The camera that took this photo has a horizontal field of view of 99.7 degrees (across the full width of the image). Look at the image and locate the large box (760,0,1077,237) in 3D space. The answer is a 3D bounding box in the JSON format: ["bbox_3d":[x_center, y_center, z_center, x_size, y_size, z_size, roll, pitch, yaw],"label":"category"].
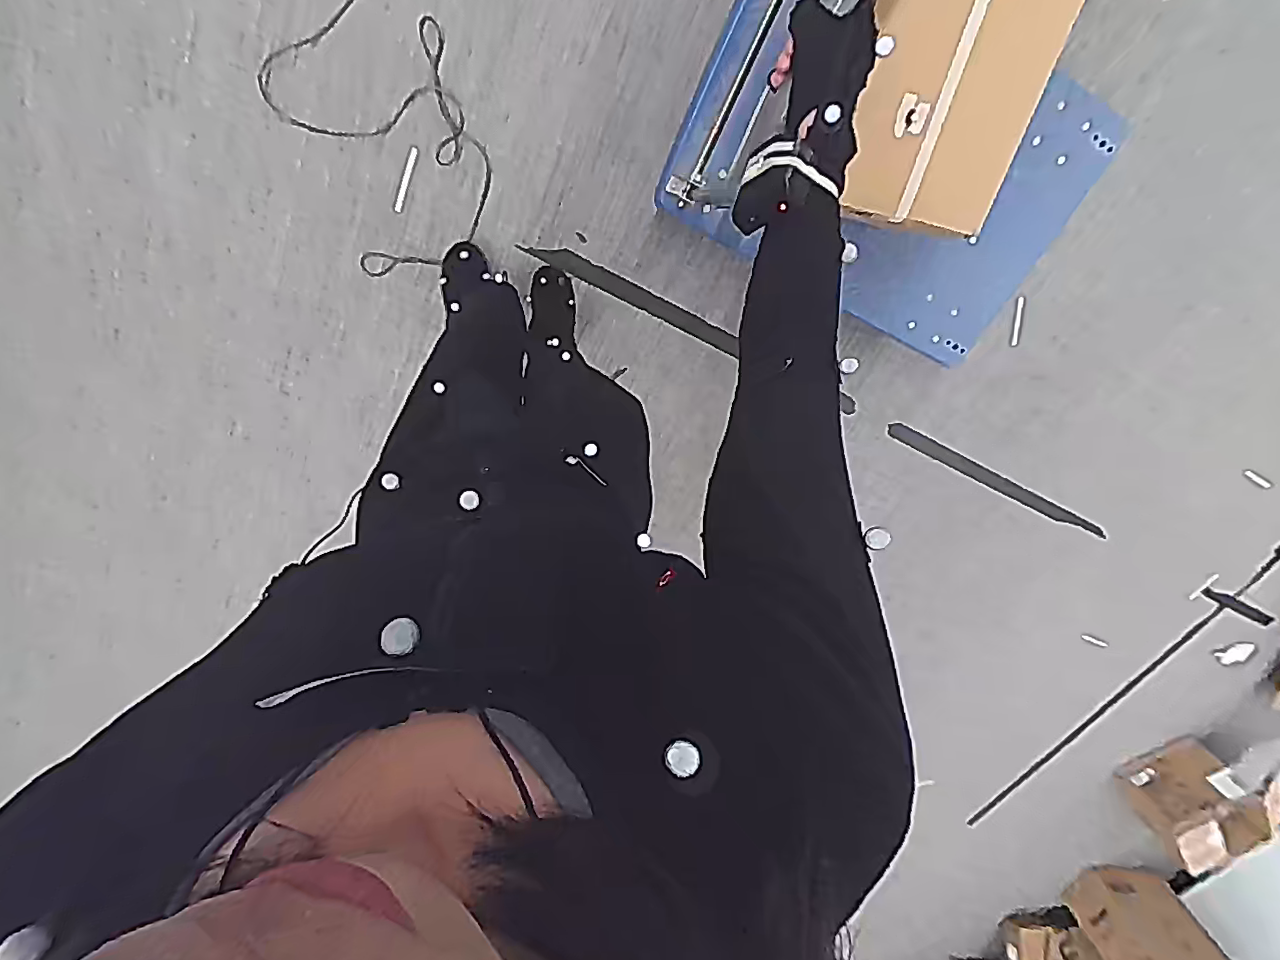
[{"bbox_3d":[0.449,-0.683,0.946,0.320,0.320,0.408,8,118,-11],"label":"large box"}]
